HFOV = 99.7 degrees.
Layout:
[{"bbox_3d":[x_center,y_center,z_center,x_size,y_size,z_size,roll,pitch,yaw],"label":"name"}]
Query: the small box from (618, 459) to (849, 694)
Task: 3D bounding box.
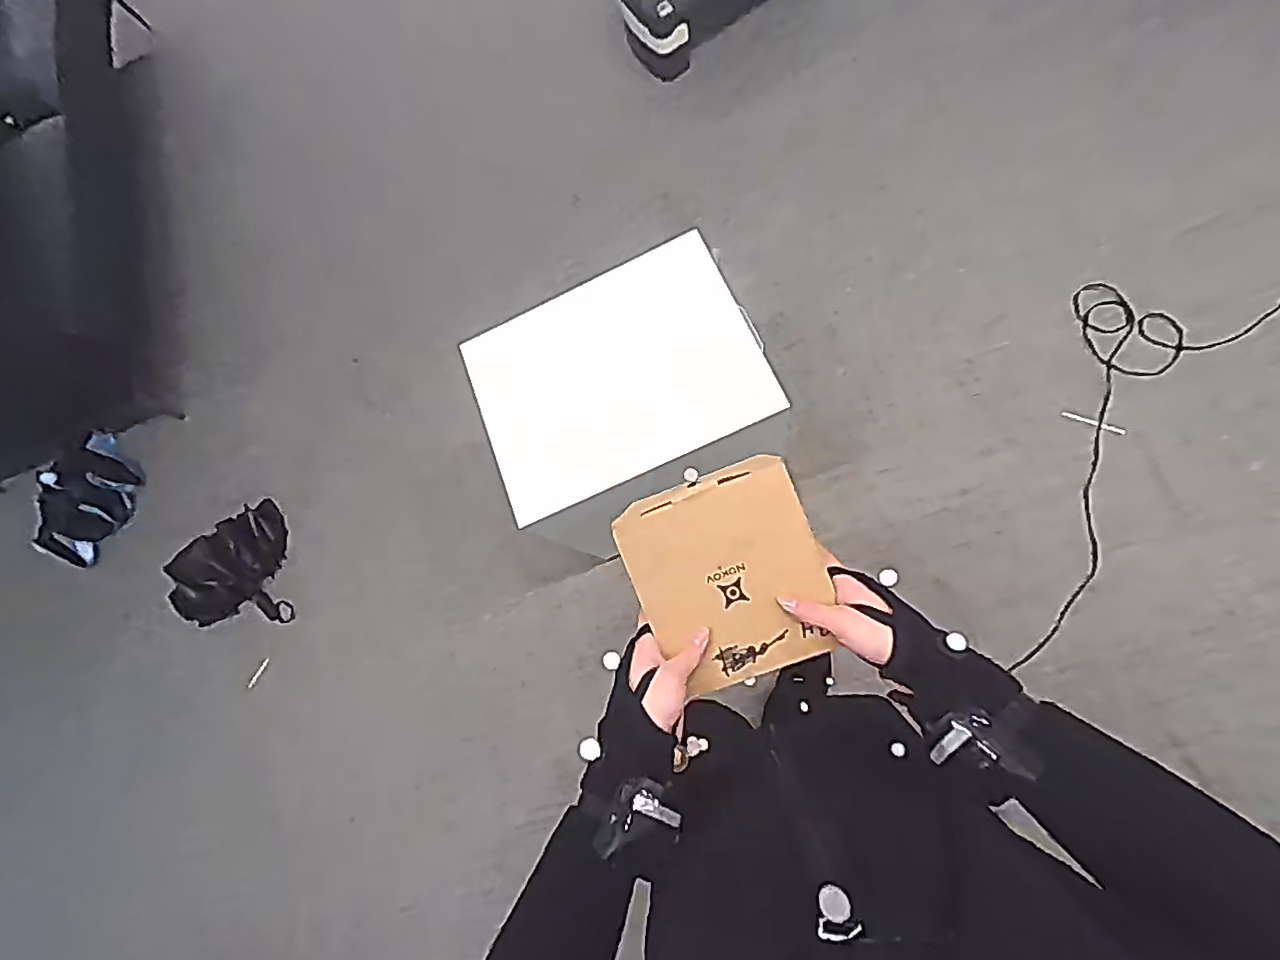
[{"bbox_3d":[0.090,0.087,0.569,0.168,0.176,0.179,-21,90,7],"label":"small box"}]
